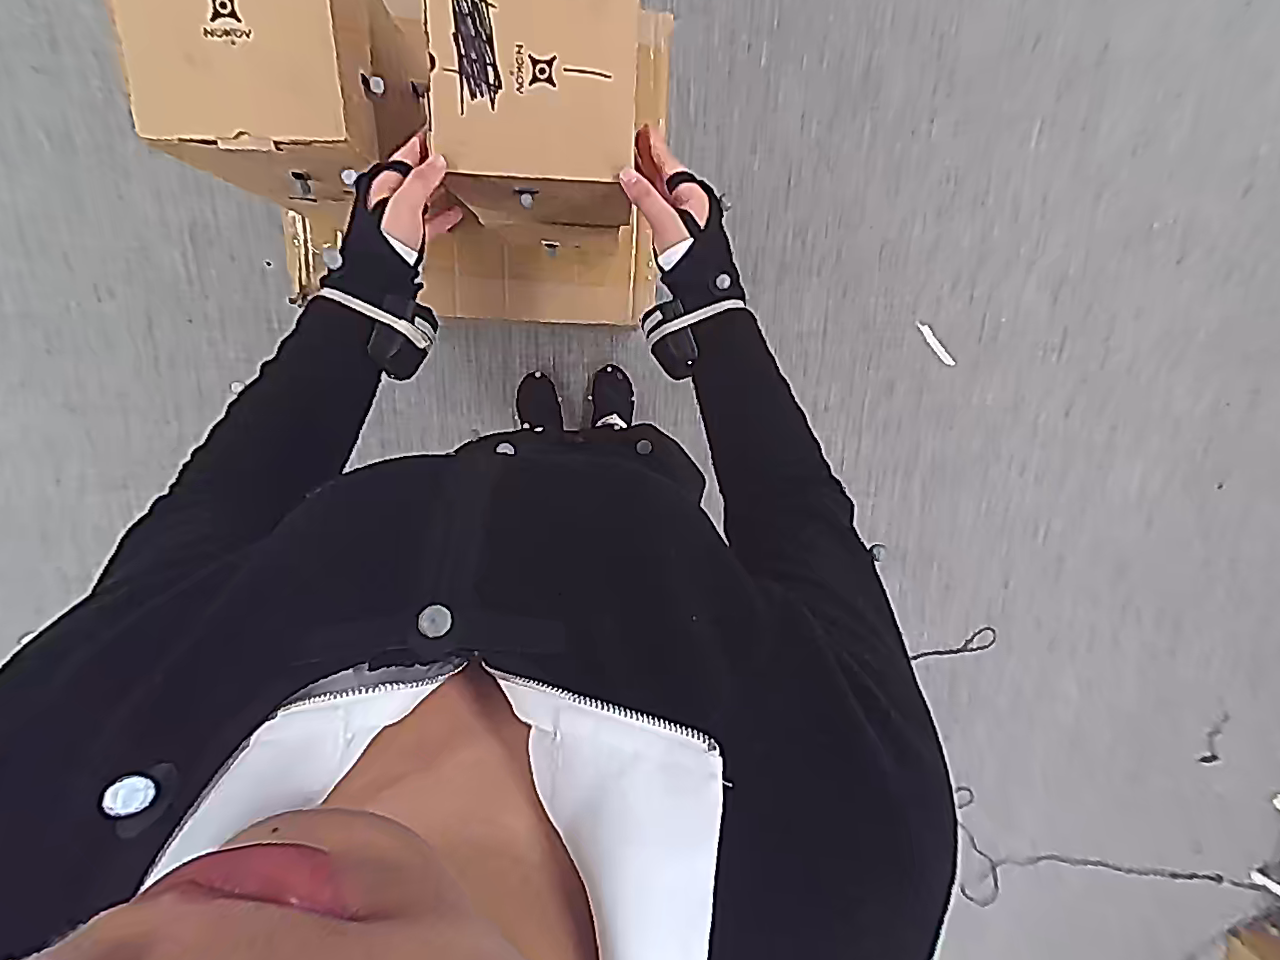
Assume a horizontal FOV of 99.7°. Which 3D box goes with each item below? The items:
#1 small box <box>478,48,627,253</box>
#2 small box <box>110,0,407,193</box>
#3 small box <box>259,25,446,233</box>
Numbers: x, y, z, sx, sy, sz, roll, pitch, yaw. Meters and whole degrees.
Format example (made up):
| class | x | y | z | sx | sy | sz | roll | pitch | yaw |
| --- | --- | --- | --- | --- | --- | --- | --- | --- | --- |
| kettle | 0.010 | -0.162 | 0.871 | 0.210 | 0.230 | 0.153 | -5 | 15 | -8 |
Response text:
| class | x | y | z | sx | sy | sz | roll | pitch | yaw |
| --- | --- | --- | --- | --- | --- | --- | --- | --- | --- |
| small box | -0.103 | -0.400 | 0.687 | 0.168 | 0.176 | 0.179 | 2 | 104 | -2 |
| small box | -0.332 | -0.381 | 0.503 | 0.168 | 0.176 | 0.179 | -2 | 104 | -5 |
| small box | -0.345 | -0.417 | 0.663 | 0.168 | 0.176 | 0.179 | 0 | 104 | -5 |
